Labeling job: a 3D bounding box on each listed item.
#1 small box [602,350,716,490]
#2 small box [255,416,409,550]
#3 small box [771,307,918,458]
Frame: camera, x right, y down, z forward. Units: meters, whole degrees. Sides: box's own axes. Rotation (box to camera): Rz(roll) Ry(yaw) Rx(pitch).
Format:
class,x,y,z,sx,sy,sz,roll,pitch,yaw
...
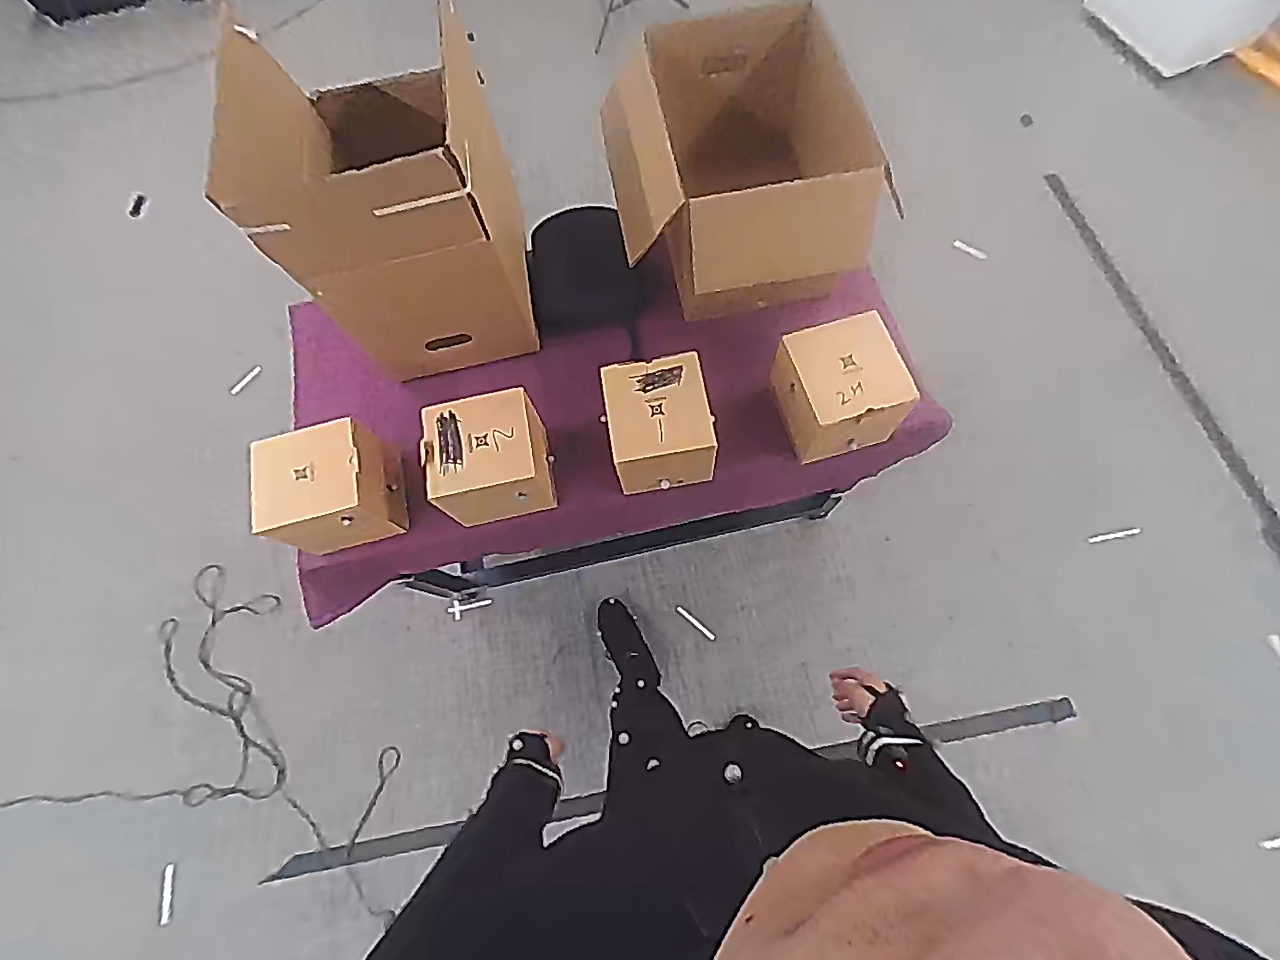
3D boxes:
class,x,y,z,sx,sy,sz,roll,pitch,yaw
small box,0.033,-0.098,0.946,0.168,0.176,0.179,-10,71,2
small box,-0.537,0.014,0.956,0.179,0.176,0.168,-15,70,-2
small box,0.340,-0.162,0.941,0.168,0.176,0.179,-16,71,0
